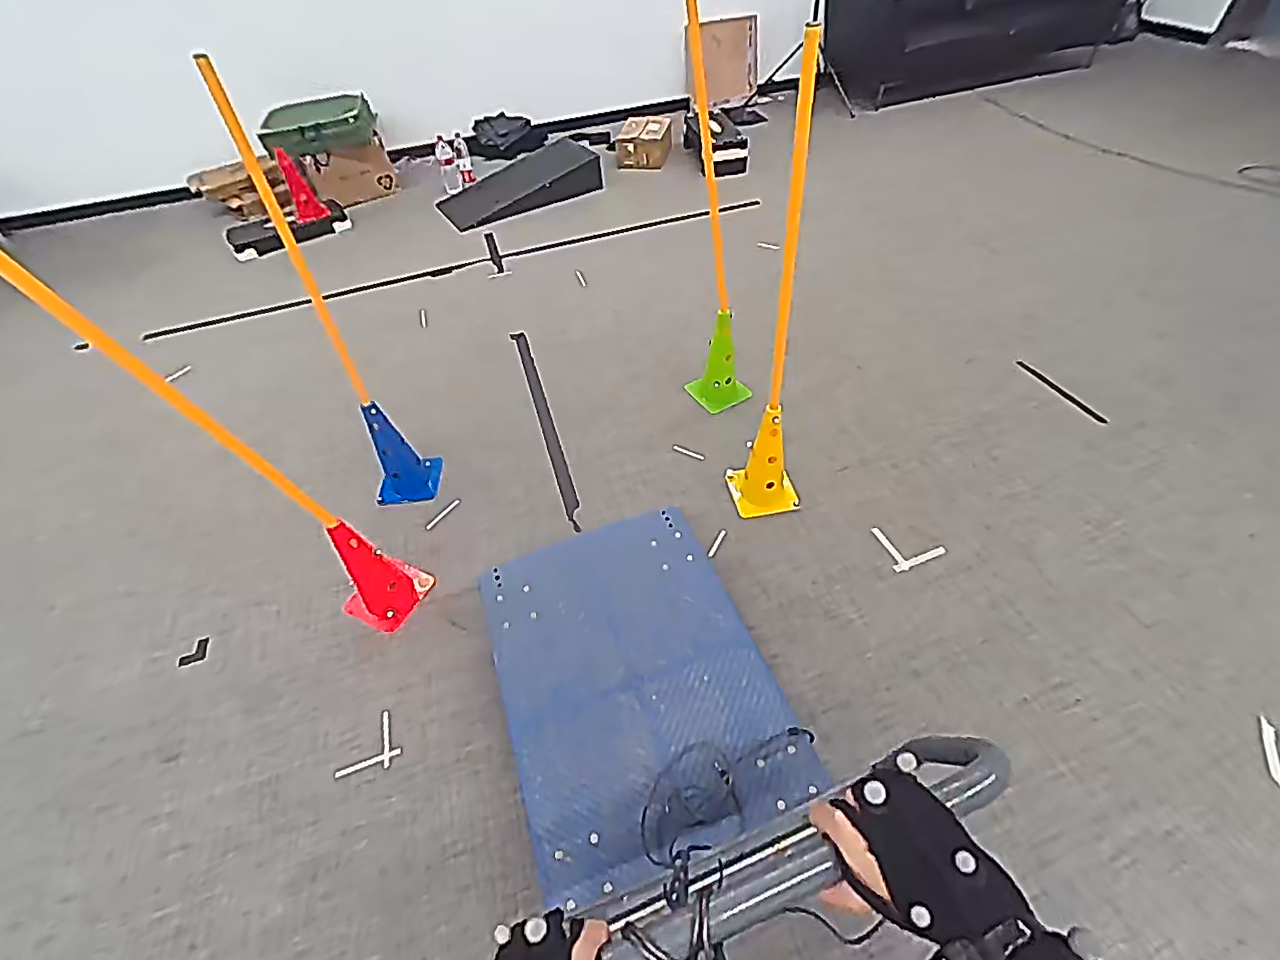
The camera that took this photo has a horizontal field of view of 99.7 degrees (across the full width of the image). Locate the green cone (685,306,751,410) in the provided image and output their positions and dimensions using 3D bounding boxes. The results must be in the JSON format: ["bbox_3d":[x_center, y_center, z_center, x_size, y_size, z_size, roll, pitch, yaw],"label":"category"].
[{"bbox_3d":[0.293,-0.468,1.978,0.200,0.368,0.202,-27,53,-18],"label":"green cone"}]

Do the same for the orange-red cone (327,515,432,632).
[{"bbox_3d":[-0.746,0.217,1.459,0.198,0.360,0.199,19,51,19],"label":"orange-red cone"}]

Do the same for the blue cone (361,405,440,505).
[{"bbox_3d":[-0.809,-0.099,1.764,0.193,0.380,0.192,-5,49,0],"label":"blue cone"}]
